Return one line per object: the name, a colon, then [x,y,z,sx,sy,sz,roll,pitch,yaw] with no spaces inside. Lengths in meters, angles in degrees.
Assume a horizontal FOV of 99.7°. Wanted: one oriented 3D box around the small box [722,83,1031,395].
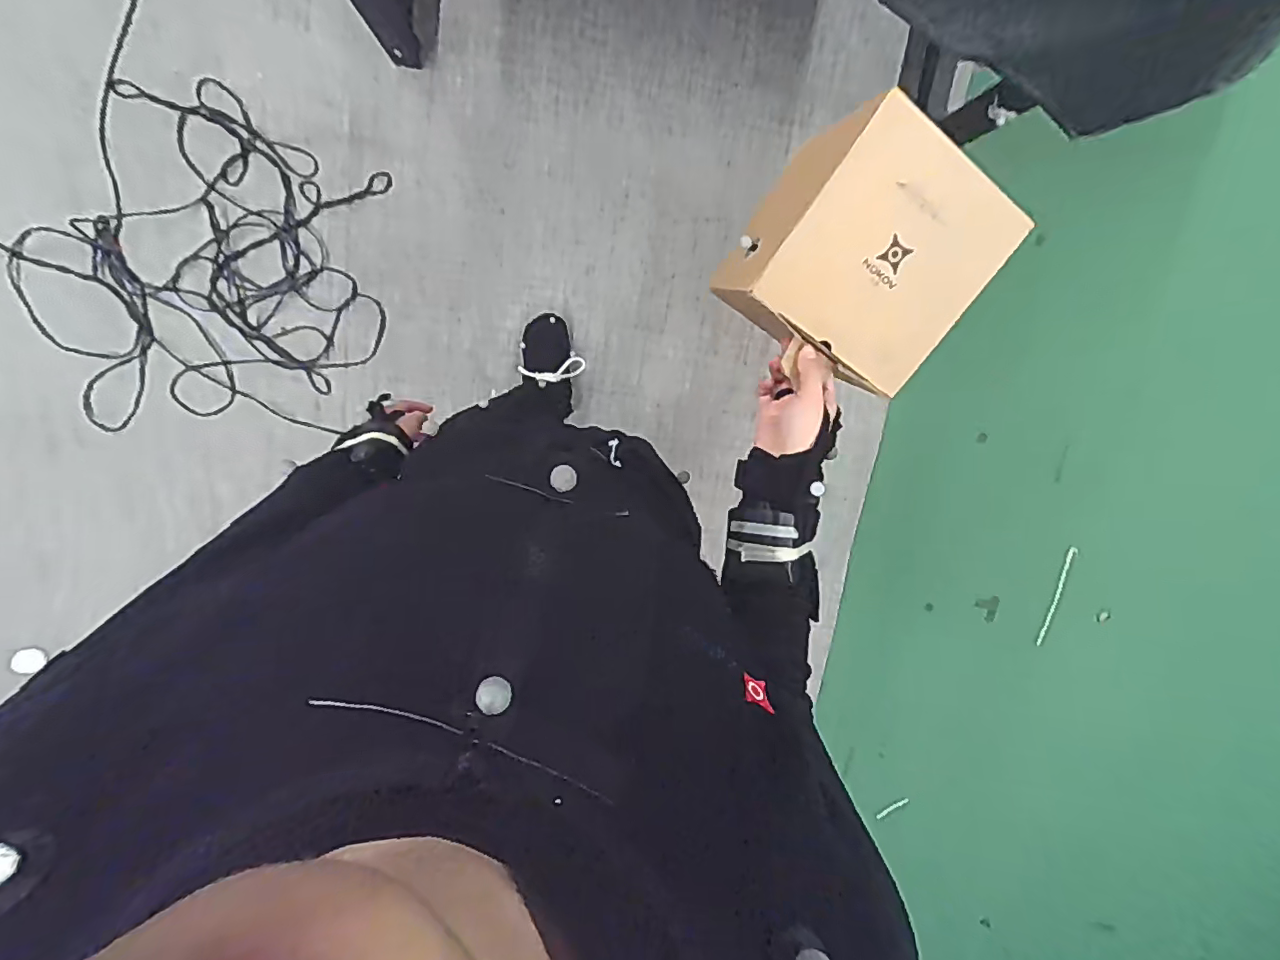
small box: [0.195,-0.209,0.508,0.168,0.176,0.179,31,104,-16]
